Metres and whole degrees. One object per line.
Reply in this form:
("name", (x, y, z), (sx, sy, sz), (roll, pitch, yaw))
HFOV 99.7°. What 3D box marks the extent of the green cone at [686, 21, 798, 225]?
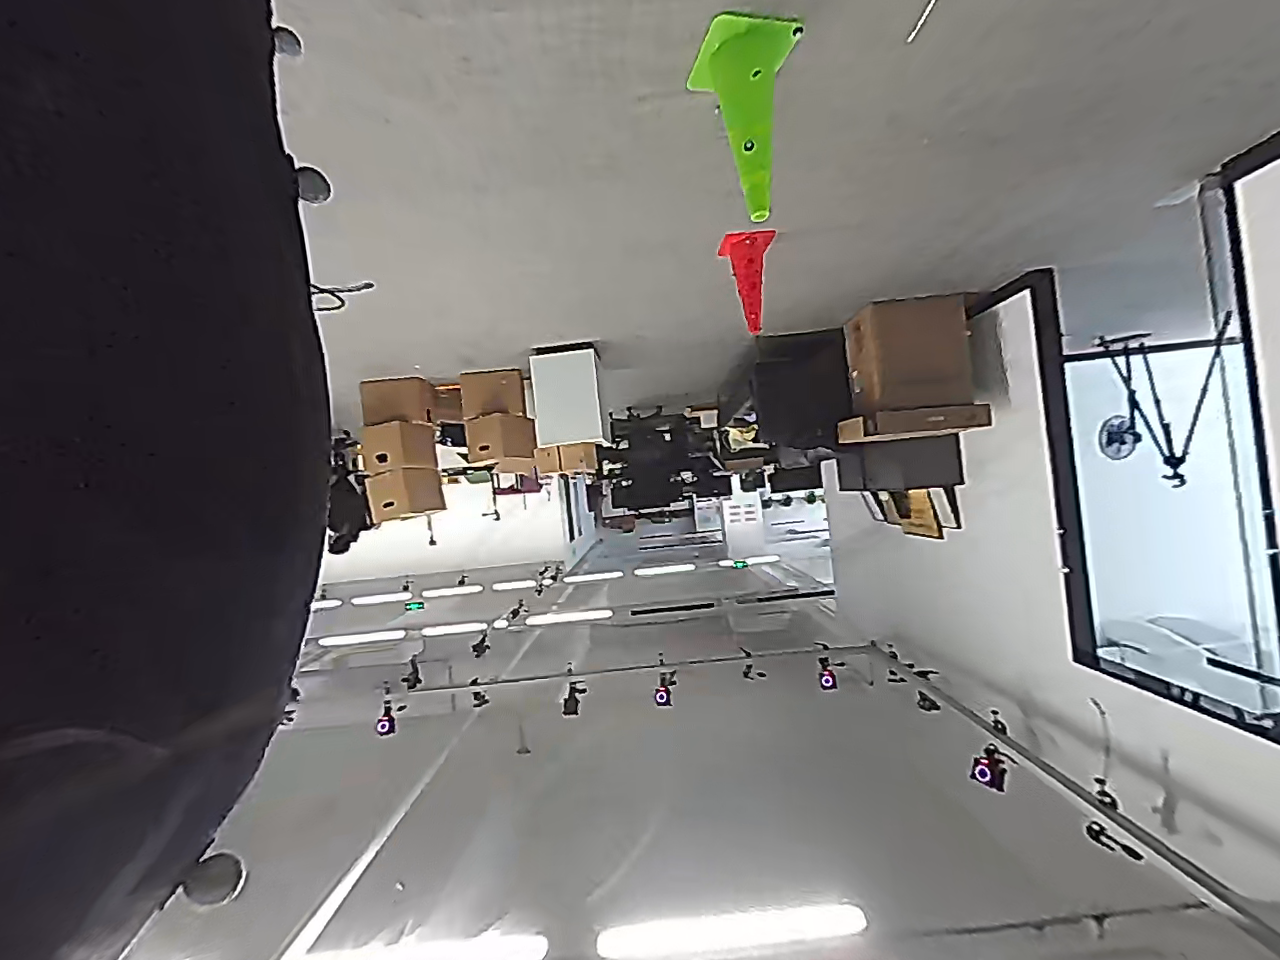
("green cone", (0.235, -0.748, 1.181), (0.200, 0.368, 0.202), (-6, 179, -12))
